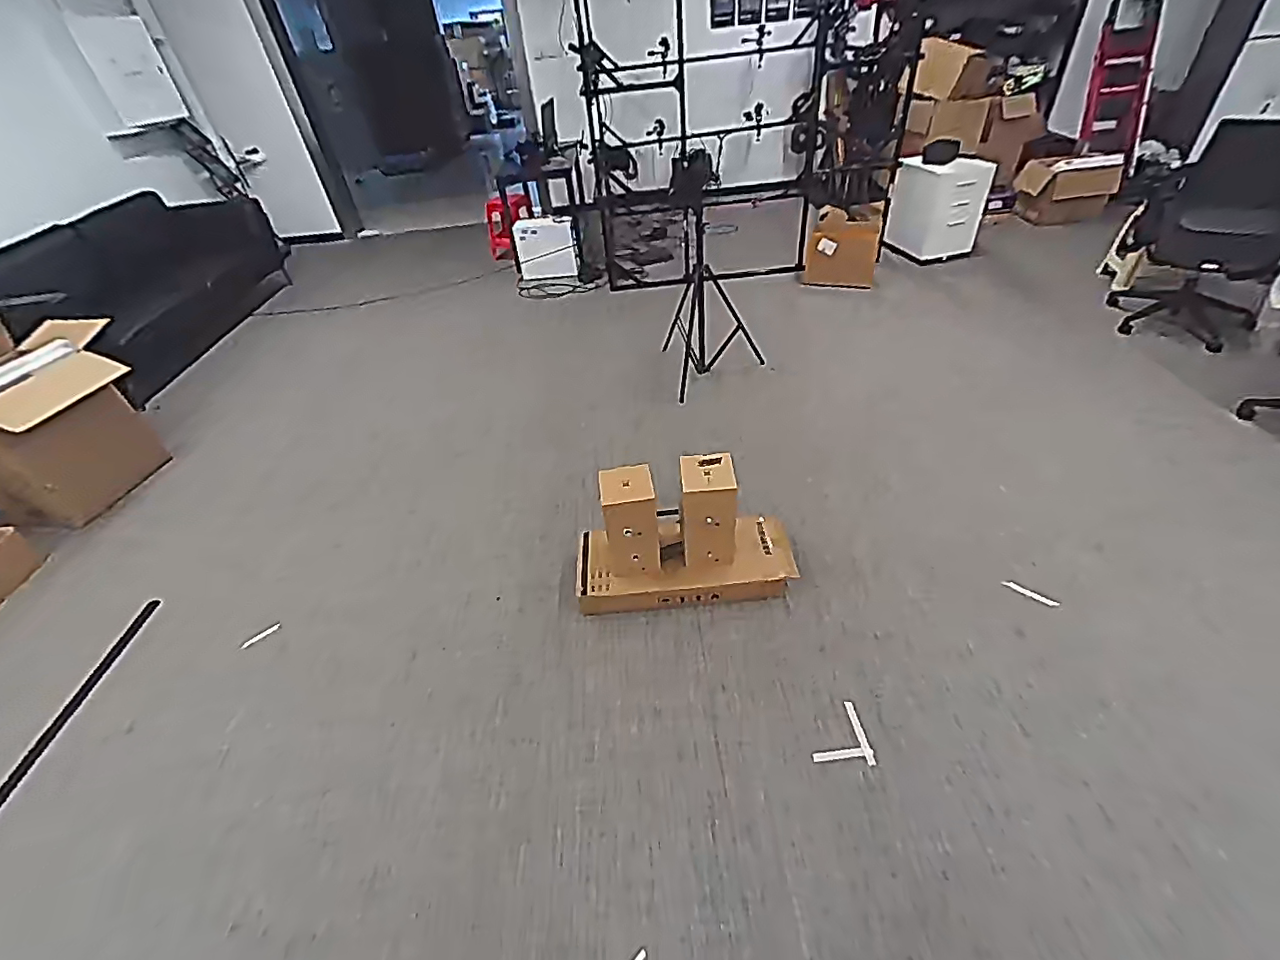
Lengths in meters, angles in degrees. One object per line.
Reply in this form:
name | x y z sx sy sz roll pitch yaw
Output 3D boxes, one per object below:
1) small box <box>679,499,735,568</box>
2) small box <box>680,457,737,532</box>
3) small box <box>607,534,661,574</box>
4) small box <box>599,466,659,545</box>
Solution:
small box | 0.223 0.176 1.844 0.168 0.176 0.179 -7 39 0
small box | 0.217 0.047 1.742 0.168 0.176 0.179 -4 40 4
small box | -0.023 0.206 1.842 0.168 0.176 0.179 -7 40 -1
small box | -0.037 0.082 1.736 0.168 0.176 0.179 -10 40 -3
